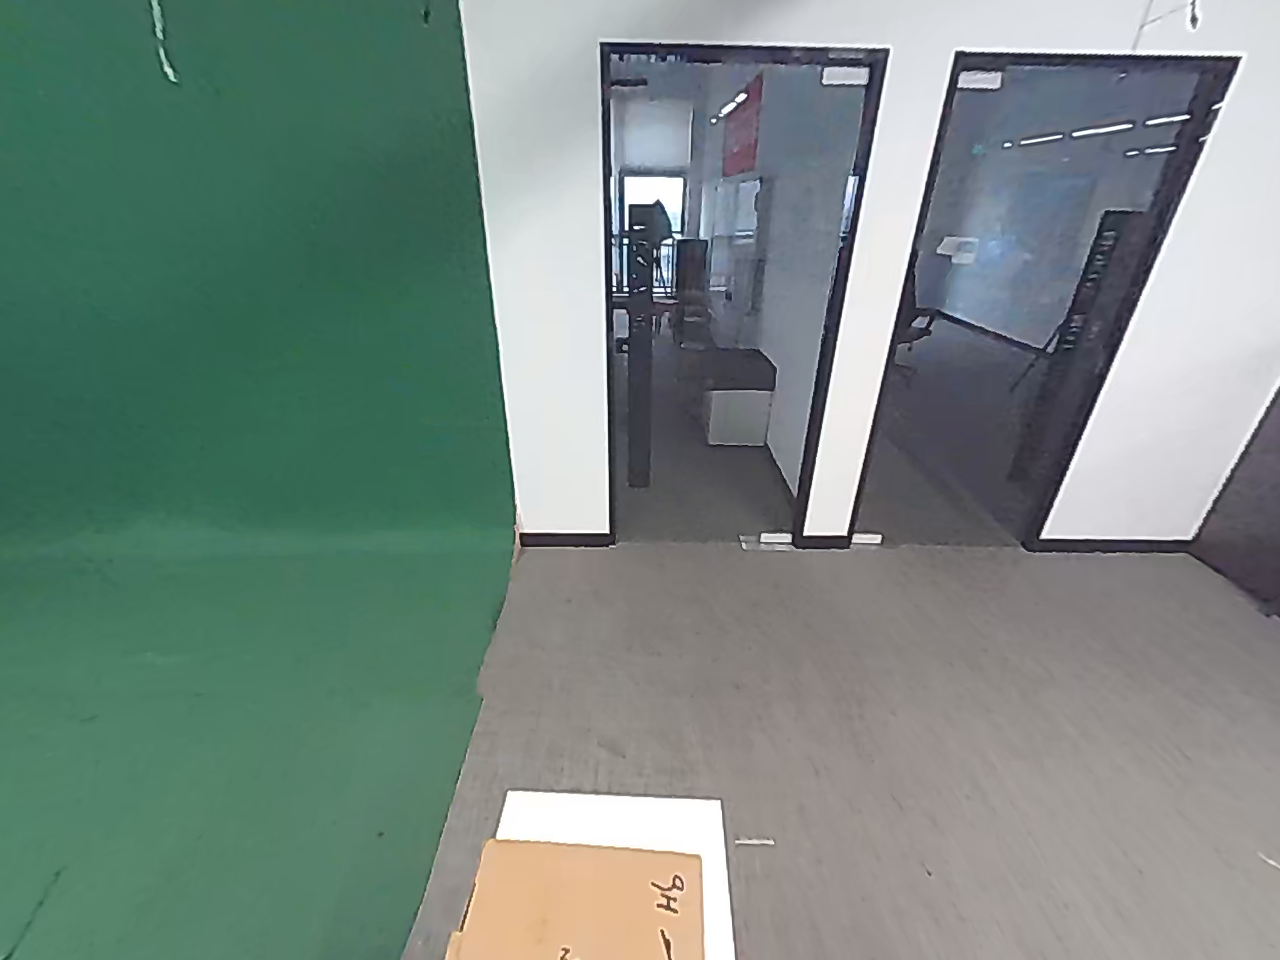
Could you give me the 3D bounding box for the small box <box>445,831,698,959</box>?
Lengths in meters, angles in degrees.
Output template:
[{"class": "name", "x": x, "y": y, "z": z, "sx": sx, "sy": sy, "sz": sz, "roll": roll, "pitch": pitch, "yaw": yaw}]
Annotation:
[{"class": "small box", "x": -0.048, "y": 0.399, "z": 0.409, "sx": 0.179, "sy": 0.176, "sz": 0.168, "roll": 3, "pitch": 33, "yaw": 3}]
